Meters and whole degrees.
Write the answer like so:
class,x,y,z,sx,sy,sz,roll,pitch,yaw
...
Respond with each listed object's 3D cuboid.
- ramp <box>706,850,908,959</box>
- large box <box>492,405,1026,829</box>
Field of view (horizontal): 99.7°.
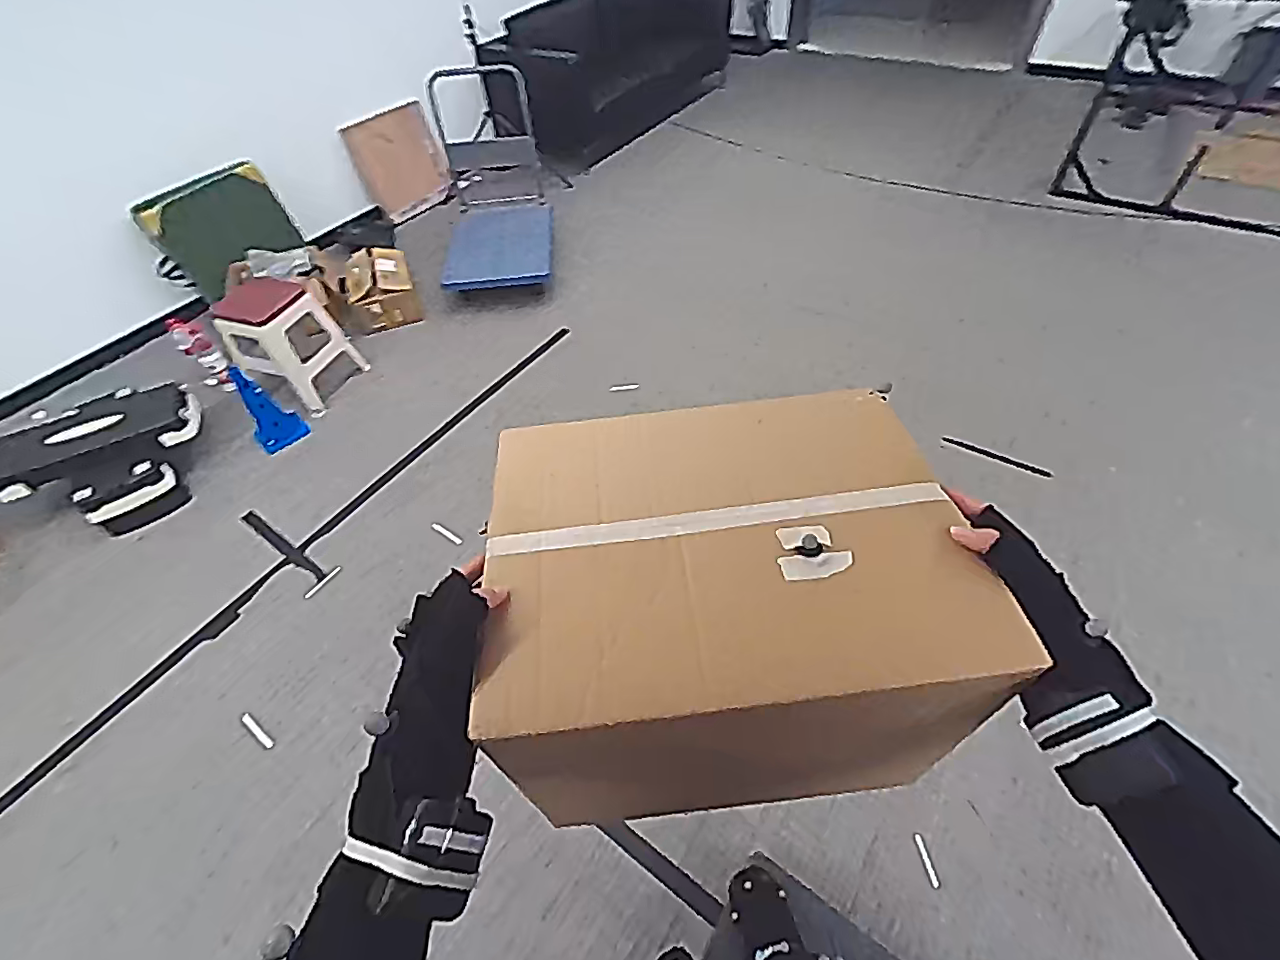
class,x,y,z,sx,sy,sz,roll,pitch,yaw
ramp,0.545,1.236,0.978,0.991,0.206,0.509,24,56,22
large box,0.082,0.152,0.598,0.408,0.320,0.320,-7,47,-1
